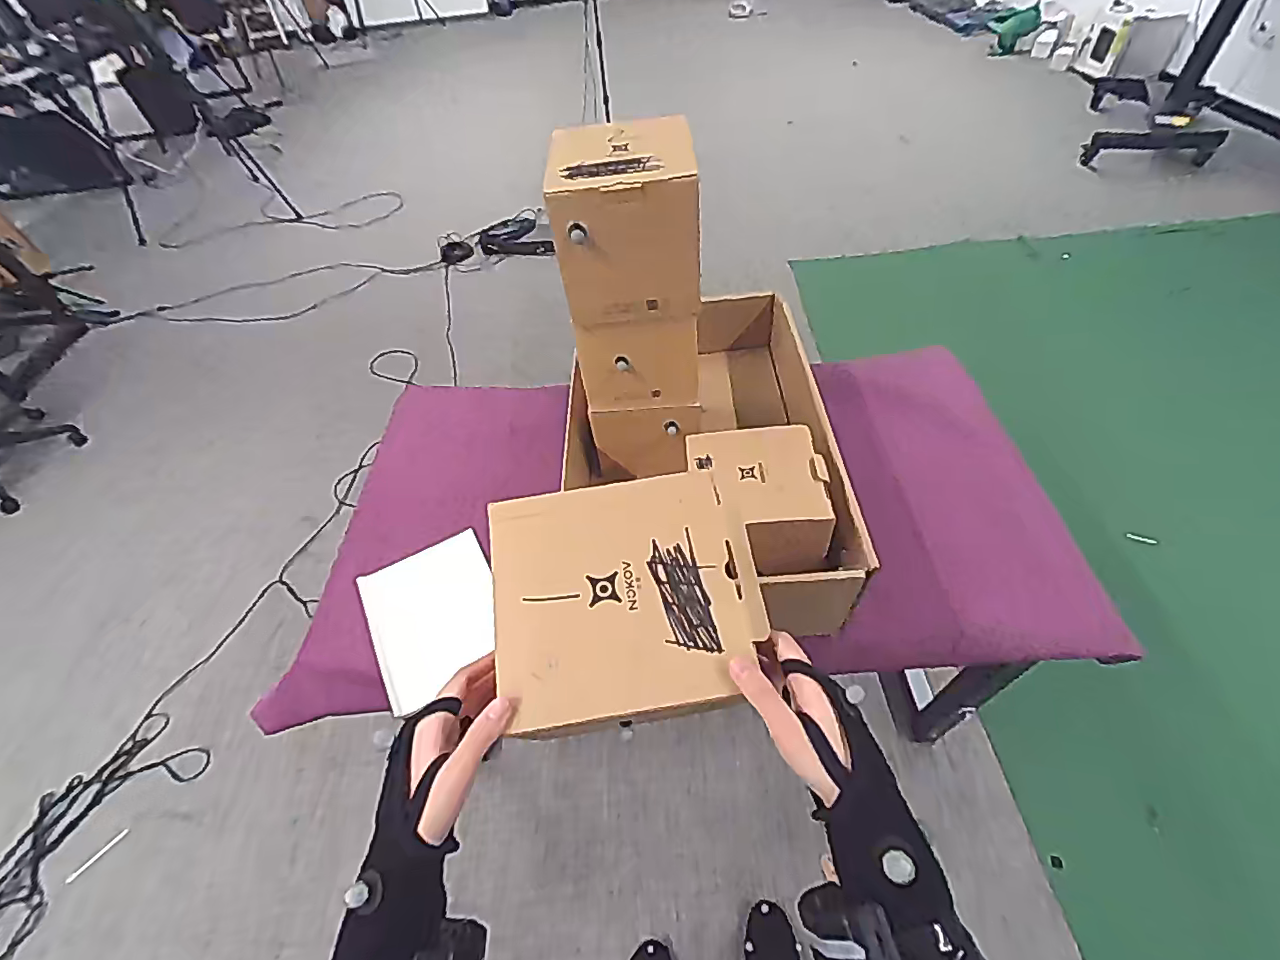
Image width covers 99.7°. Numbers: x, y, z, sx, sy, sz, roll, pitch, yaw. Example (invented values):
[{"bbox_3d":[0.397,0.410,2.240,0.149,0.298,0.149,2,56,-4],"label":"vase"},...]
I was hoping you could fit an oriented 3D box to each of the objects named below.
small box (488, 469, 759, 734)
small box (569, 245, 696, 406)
[{"bbox_3d":[-0.018,0.109,0.452,0.179,0.176,0.168,-8,63,-3],"label":"small box"},{"bbox_3d":[-0.004,-0.224,0.813,0.168,0.176,0.179,-3,51,4],"label":"small box"}]
